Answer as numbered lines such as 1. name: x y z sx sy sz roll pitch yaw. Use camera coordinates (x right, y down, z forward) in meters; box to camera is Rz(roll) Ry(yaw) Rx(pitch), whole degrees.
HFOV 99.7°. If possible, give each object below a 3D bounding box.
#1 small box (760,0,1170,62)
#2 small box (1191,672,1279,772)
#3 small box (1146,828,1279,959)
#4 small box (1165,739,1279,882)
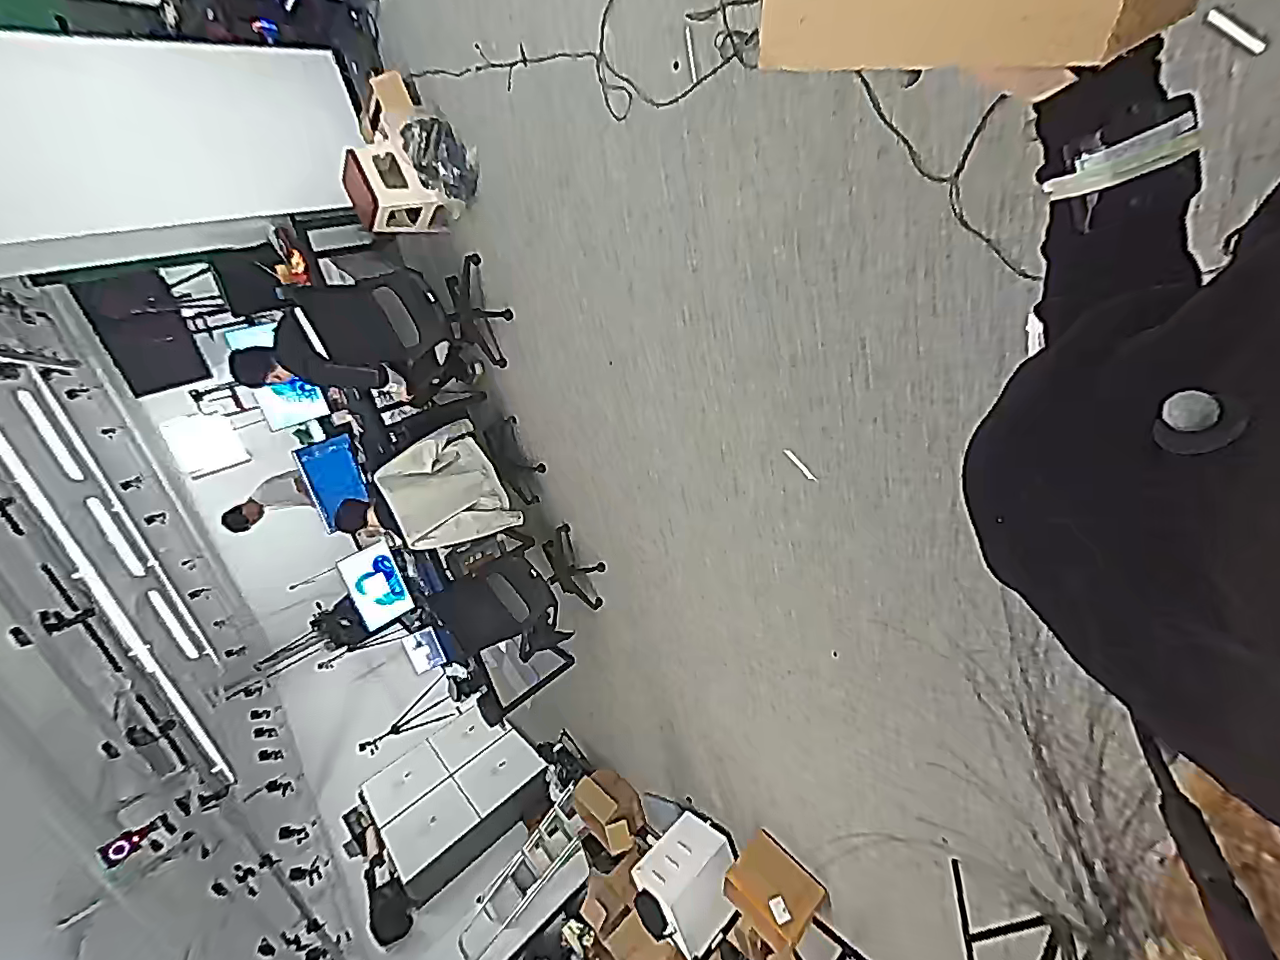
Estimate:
1. small box: 0.179 -0.313 0.254 0.179 0.176 0.168 31 146 35
2. small box: 0.946 0.422 0.795 0.168 0.176 0.179 19 128 46
3. small box: 0.708 0.555 0.619 0.168 0.176 0.179 16 128 48
4. small box: 0.825 0.484 0.706 0.168 0.176 0.179 16 127 47
